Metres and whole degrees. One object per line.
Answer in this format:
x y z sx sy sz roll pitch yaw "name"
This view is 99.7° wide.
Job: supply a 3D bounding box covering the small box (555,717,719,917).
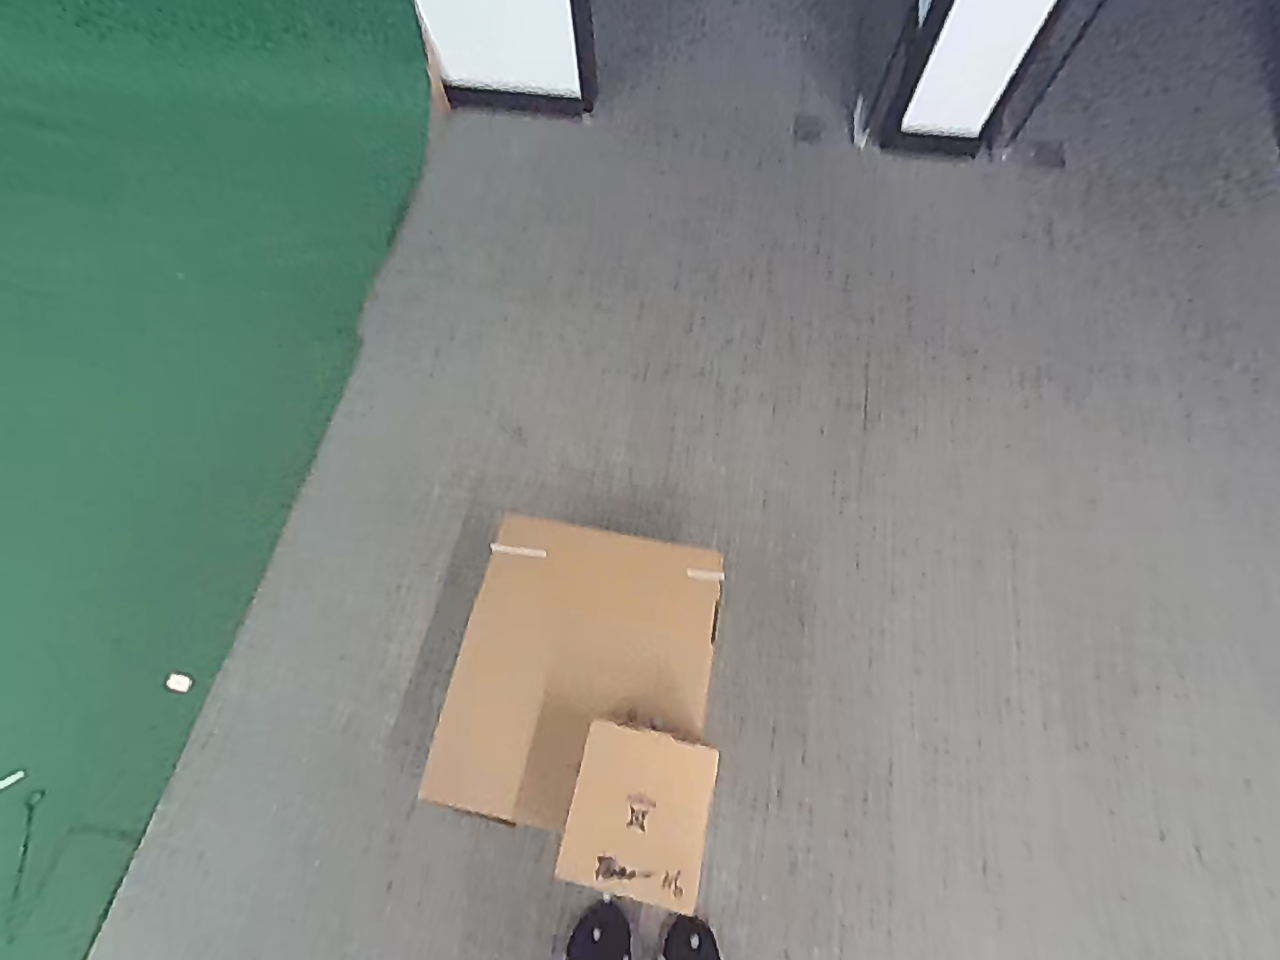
-0.002 0.428 0.721 0.168 0.176 0.179 13 68 6 "small box"
